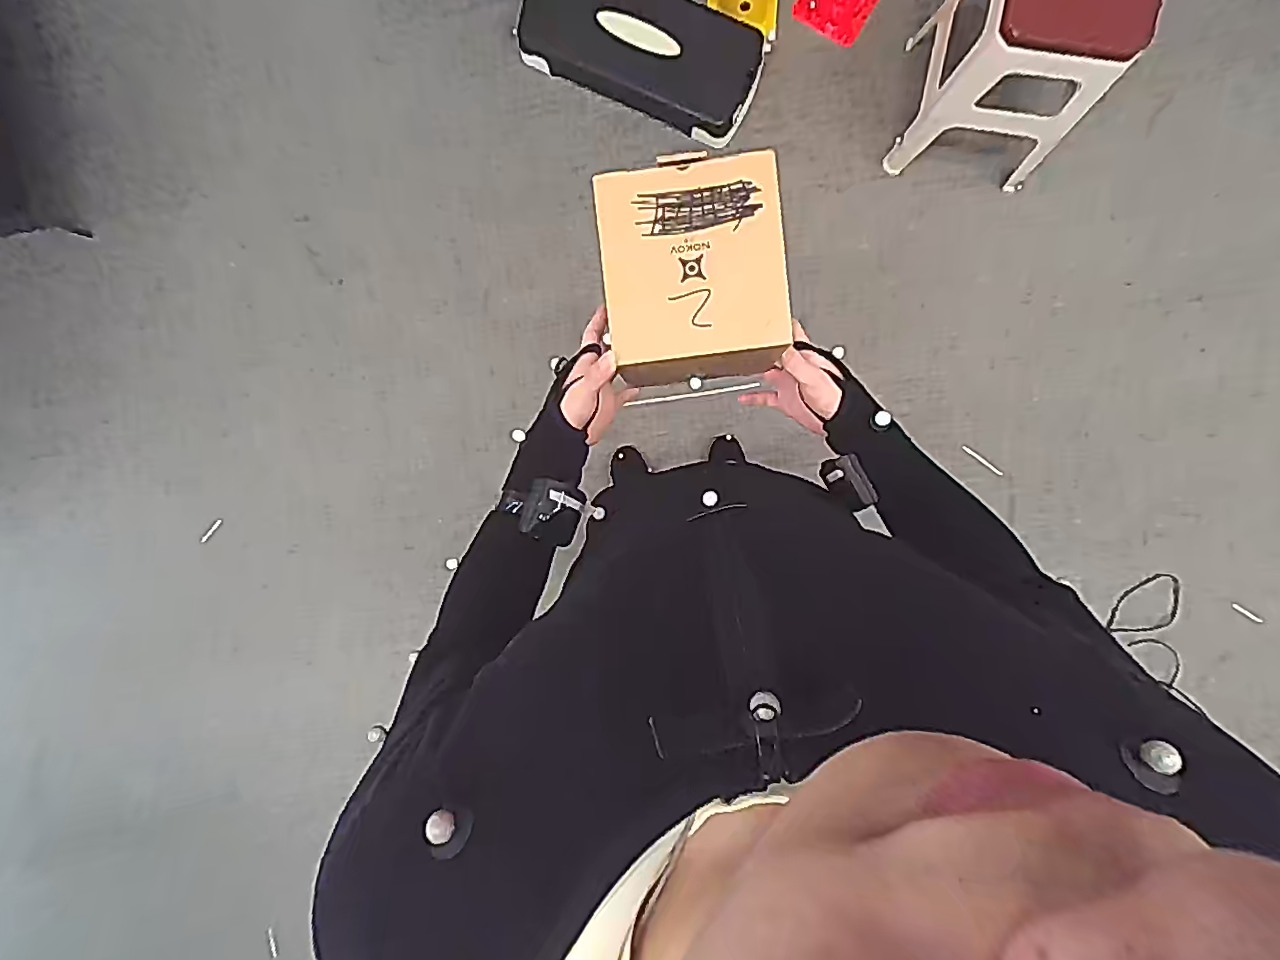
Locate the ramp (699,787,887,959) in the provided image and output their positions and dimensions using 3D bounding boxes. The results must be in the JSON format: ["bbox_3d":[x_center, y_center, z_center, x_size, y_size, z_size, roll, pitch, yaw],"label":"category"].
[{"bbox_3d":[0.484,1.461,1.605,0.509,0.206,0.991,-10,92,5],"label":"ramp"}]
